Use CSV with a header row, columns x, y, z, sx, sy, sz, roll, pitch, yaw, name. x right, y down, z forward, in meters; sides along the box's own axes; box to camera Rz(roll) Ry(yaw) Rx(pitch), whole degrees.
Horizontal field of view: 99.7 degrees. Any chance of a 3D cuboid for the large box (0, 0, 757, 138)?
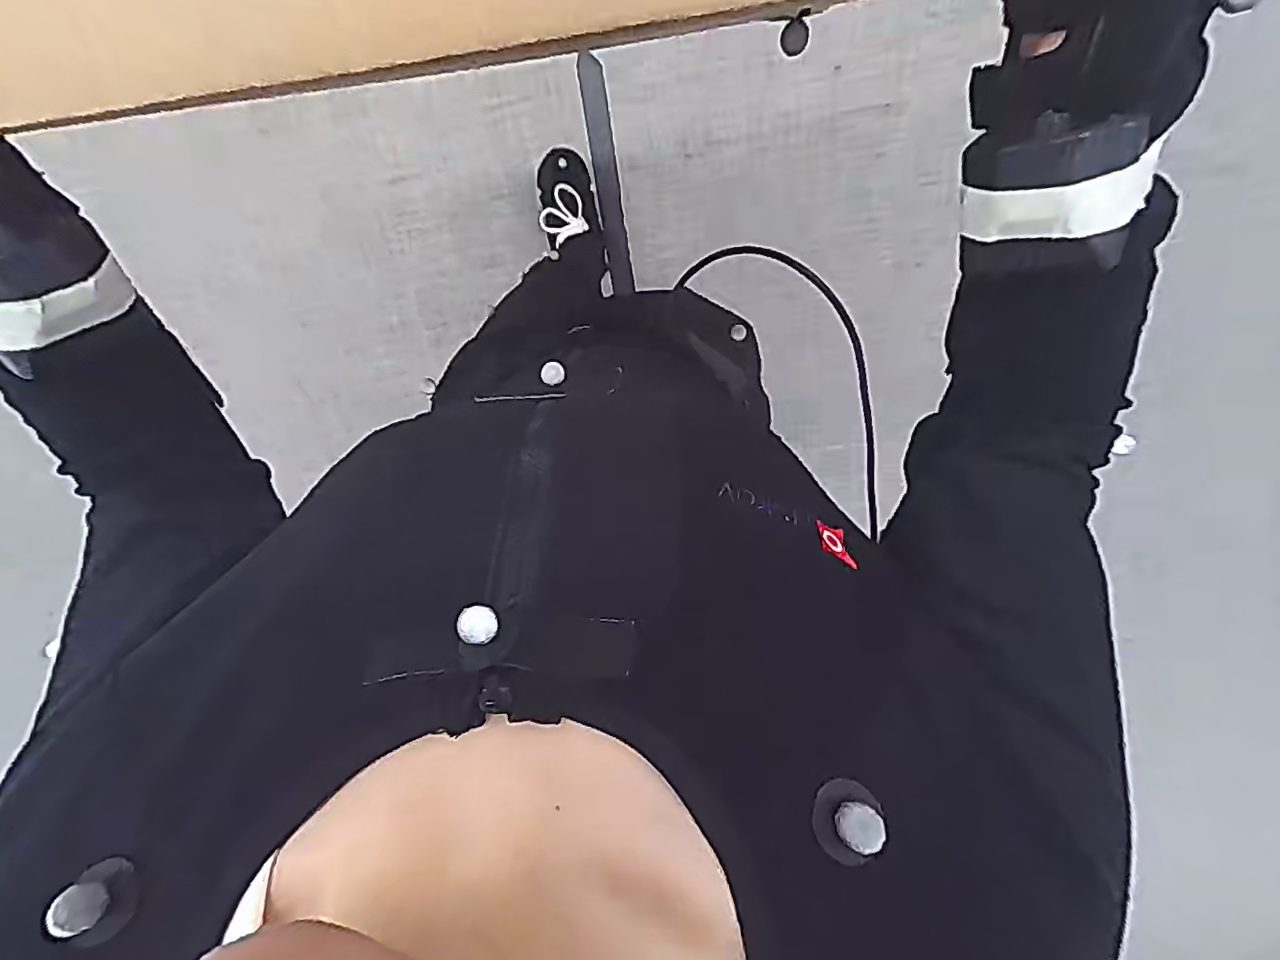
x,y,z,sx,sy,sz,roll,pitch,yaw,name
-0.093,-0.367,0.214,0.408,0.320,0.320,-7,128,3,large box
